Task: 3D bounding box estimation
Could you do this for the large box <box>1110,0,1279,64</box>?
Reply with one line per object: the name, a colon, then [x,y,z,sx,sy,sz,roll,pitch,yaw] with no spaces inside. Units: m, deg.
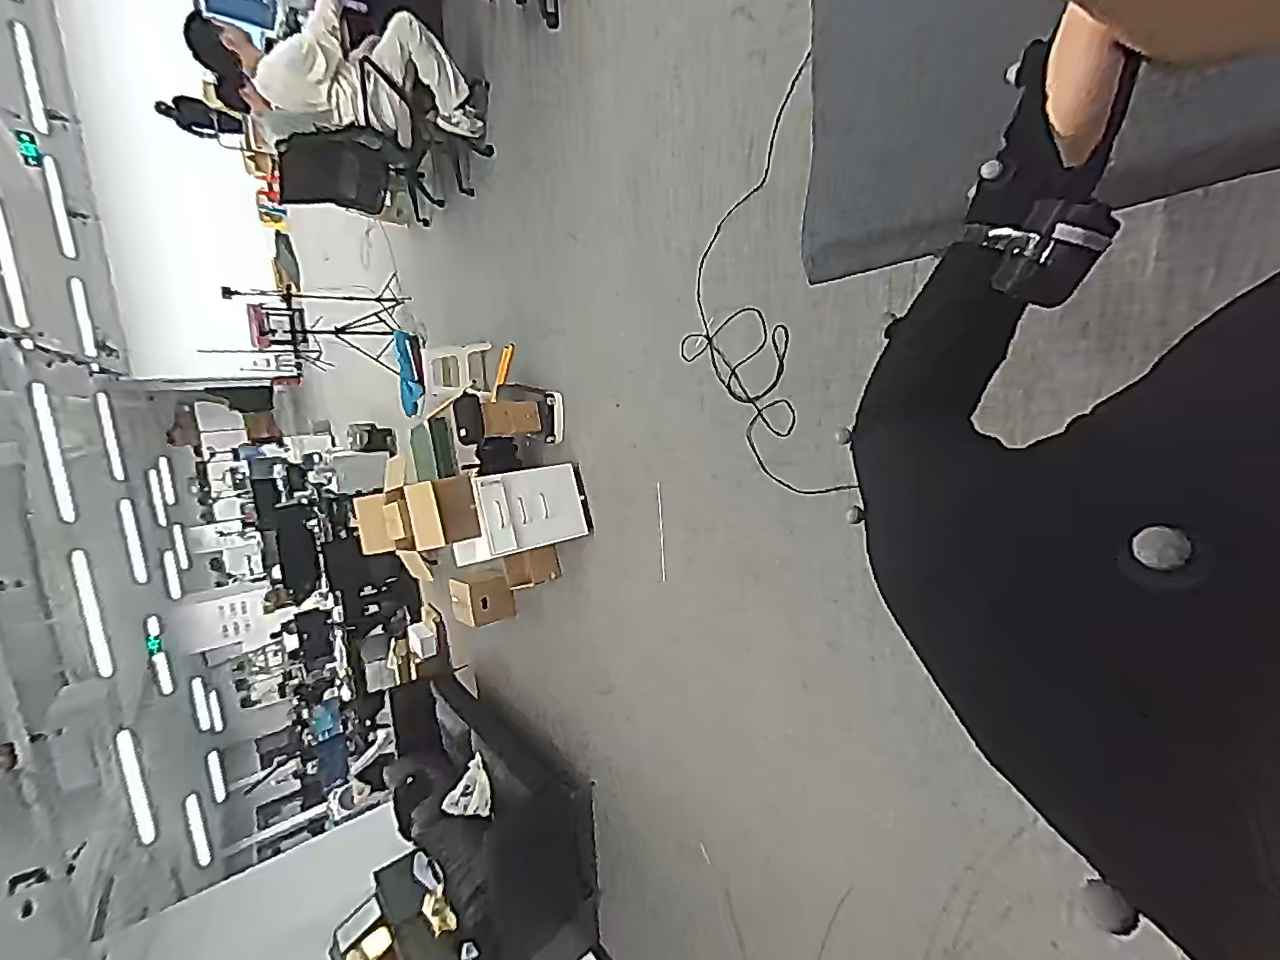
large box: [0.371,-0.362,0.104,0.408,0.320,0.320,14,118,48]
